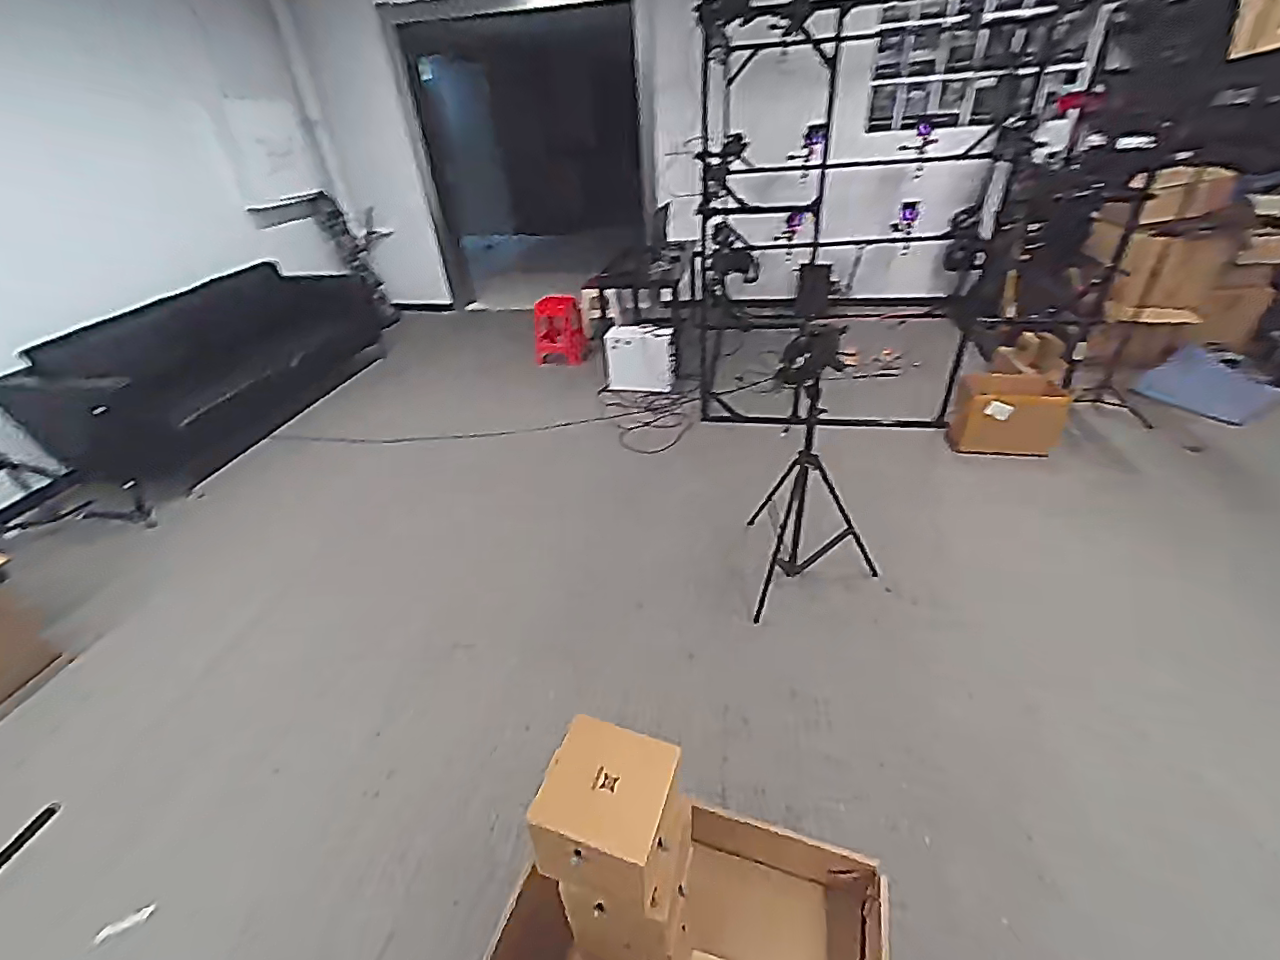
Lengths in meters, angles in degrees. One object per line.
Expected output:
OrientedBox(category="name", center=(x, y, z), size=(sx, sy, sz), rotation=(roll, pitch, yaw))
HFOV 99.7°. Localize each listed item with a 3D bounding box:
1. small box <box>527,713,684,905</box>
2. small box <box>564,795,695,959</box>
OrientedBox(category="small box", center=(-0.041, 0.487, 0.801), size=(0.179, 0.176, 0.168), rotation=(9, 36, 18))
OrientedBox(category="small box", center=(-0.011, 0.626, 0.885), size=(0.168, 0.176, 0.179), rotation=(8, 35, 15))
